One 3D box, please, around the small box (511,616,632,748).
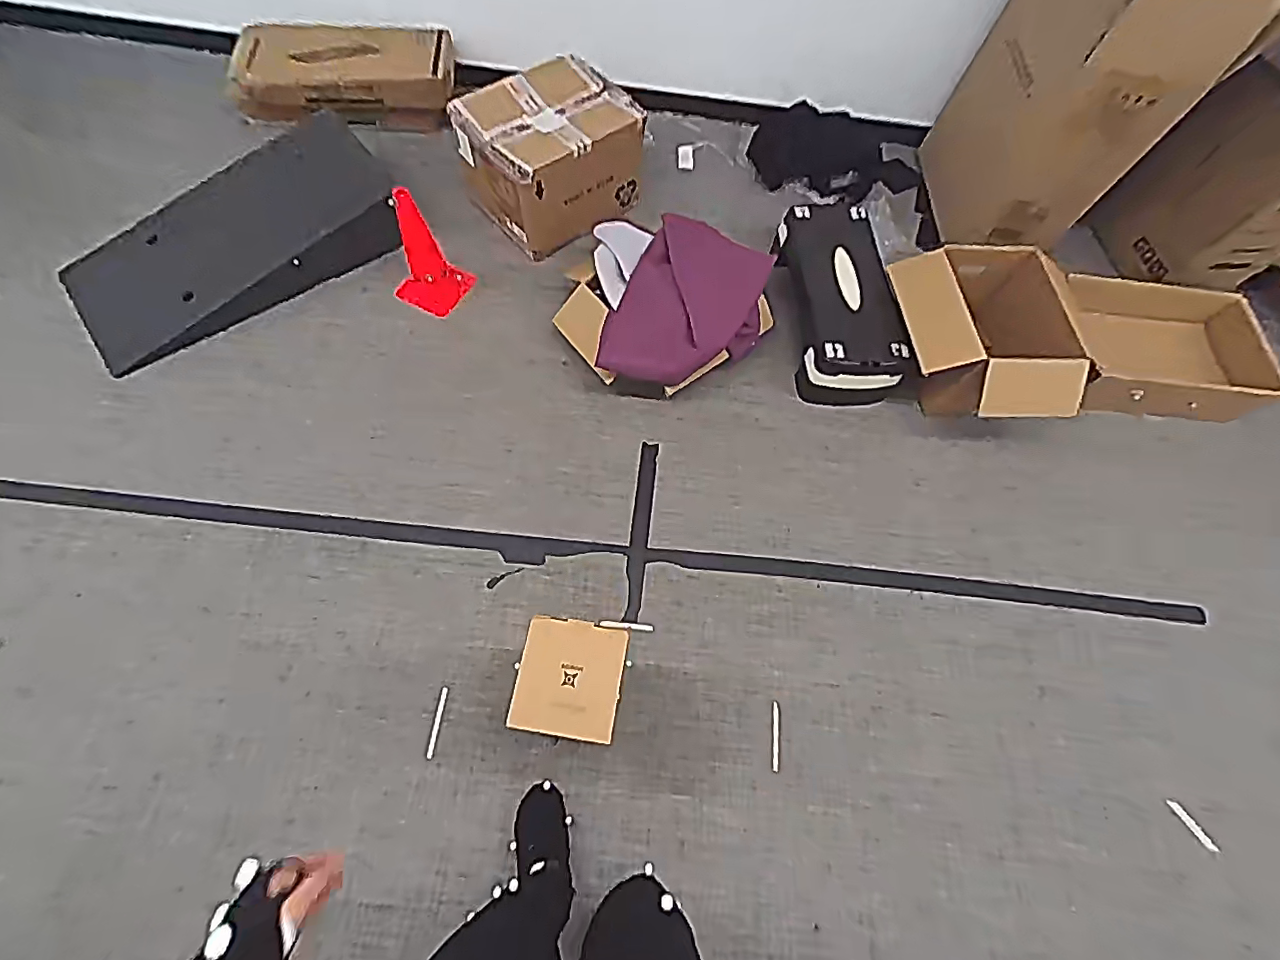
[{"bbox_3d":[-0.111,0.349,0.932,0.168,0.176,0.179,9,67,1],"label":"small box"}]
